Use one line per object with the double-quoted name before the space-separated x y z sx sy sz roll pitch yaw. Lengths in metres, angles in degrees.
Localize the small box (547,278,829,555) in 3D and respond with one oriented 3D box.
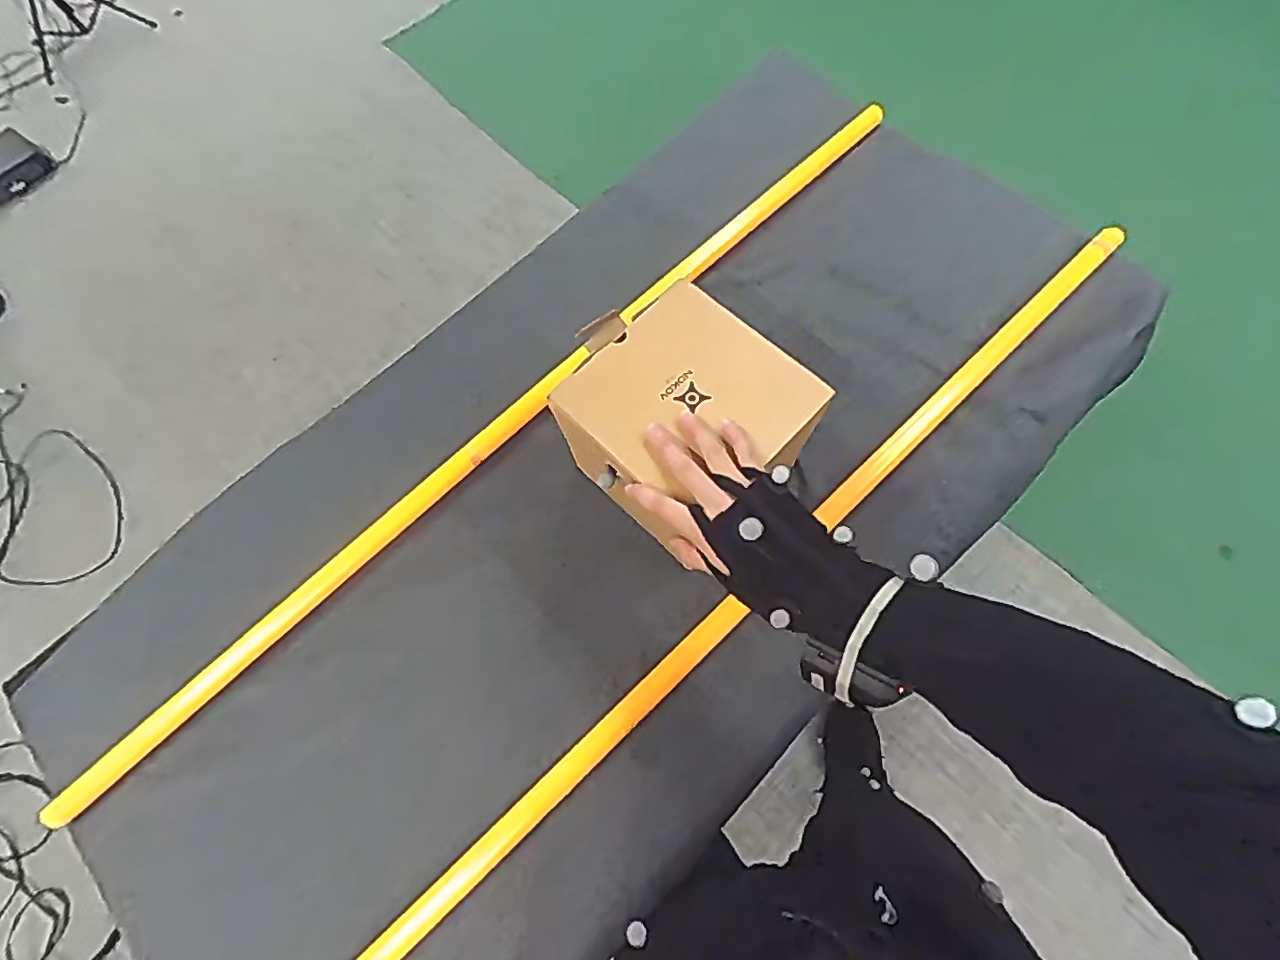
"small box" 0.044 -0.045 0.519 0.179 0.176 0.168 42 79 17
